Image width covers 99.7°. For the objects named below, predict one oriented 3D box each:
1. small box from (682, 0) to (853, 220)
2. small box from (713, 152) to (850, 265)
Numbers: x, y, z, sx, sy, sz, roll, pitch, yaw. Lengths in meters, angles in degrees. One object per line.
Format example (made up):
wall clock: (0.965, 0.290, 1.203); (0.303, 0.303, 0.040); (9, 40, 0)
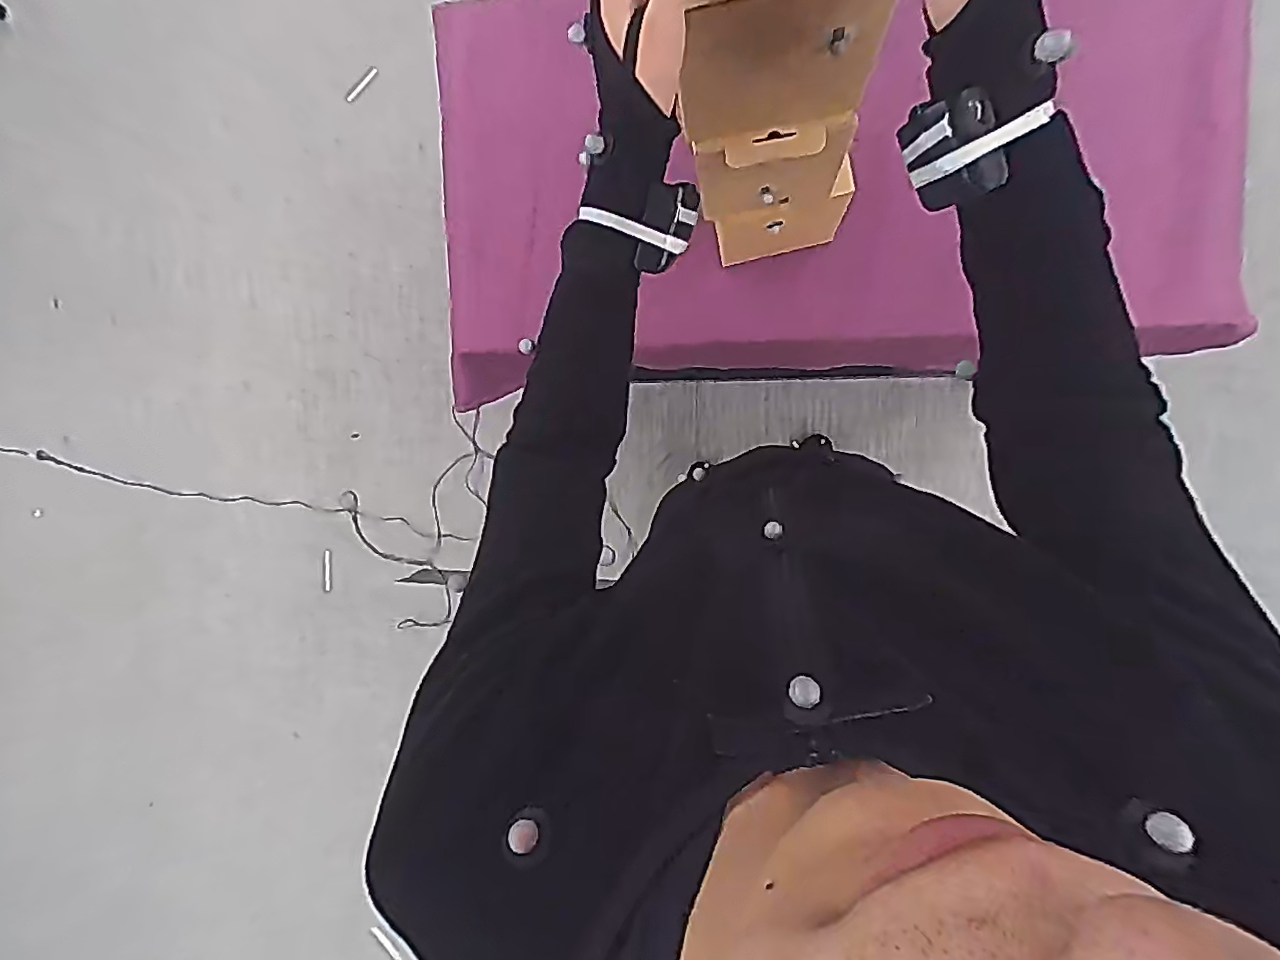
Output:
small box: (0.141, -0.437, 0.634); (0.168, 0.176, 0.179); (-5, 92, 10)
small box: (0.189, -0.437, 0.793); (0.179, 0.176, 0.168); (-10, 91, 9)
